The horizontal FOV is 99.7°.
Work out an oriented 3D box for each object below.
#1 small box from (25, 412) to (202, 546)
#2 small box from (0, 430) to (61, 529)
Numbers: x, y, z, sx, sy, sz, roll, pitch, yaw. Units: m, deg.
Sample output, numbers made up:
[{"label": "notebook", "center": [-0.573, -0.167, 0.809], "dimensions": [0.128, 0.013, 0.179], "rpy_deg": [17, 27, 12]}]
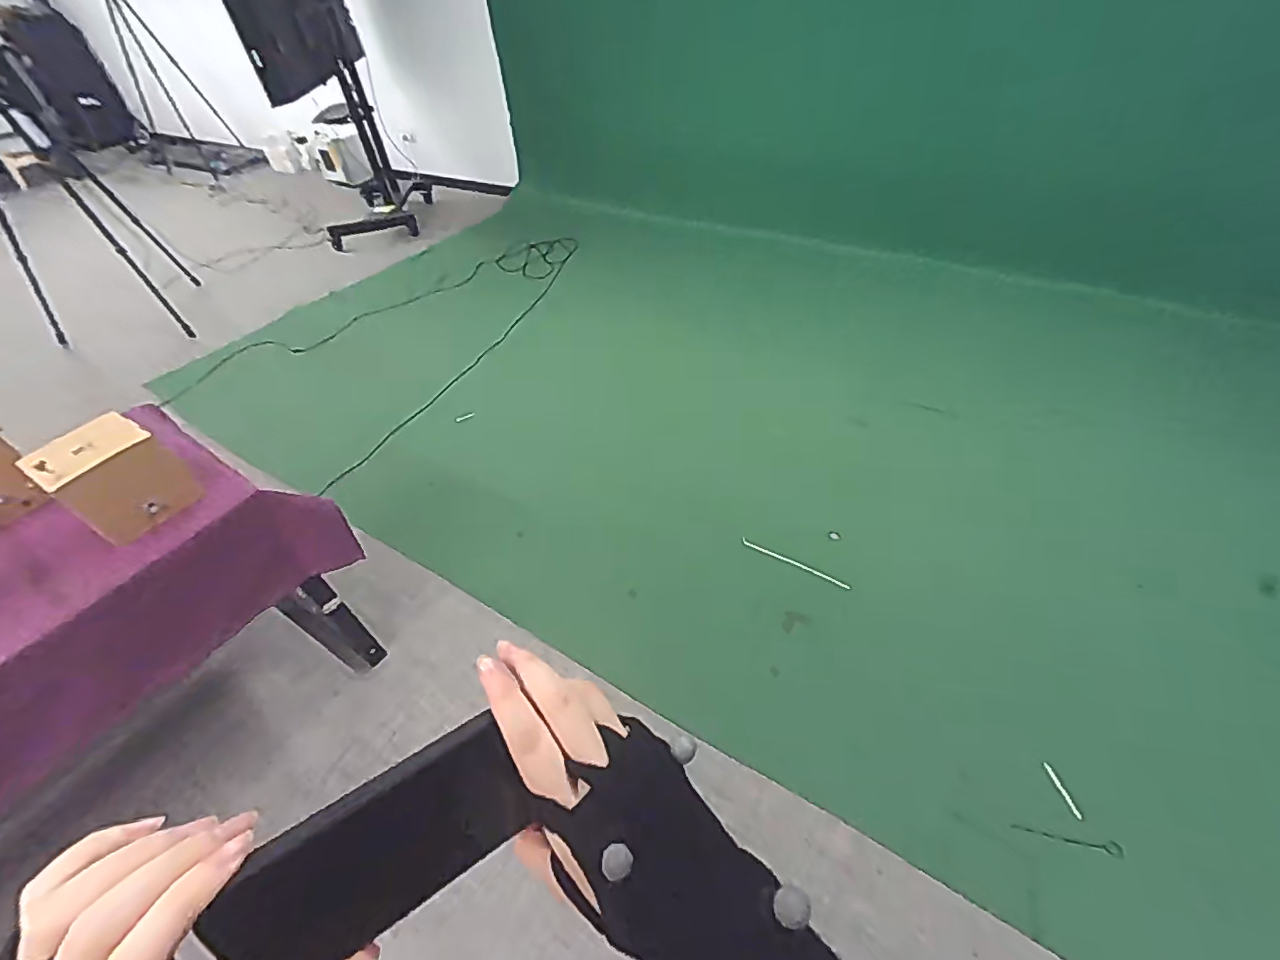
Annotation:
[{"label": "small box", "center": [-1.029, -0.003, 1.078], "dimensions": [0.168, 0.176, 0.179], "rpy_deg": [22, 51, 25]}, {"label": "small box", "center": [-1.372, -0.011, 1.119], "dimensions": [0.179, 0.176, 0.168], "rpy_deg": [21, 52, 24]}]
